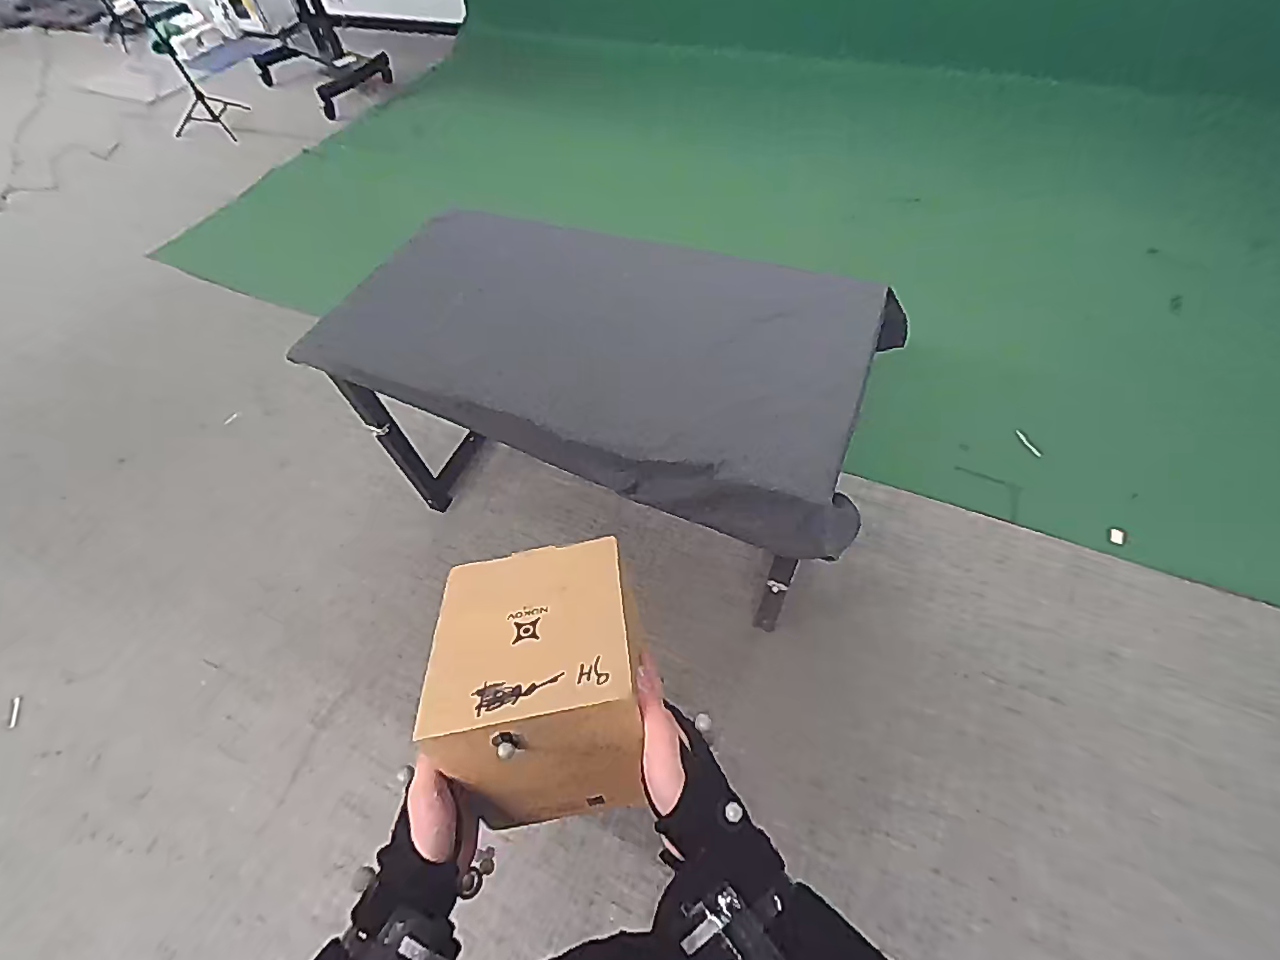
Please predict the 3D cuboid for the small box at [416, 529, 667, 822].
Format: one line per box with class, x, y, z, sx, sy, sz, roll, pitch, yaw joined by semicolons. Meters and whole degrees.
small box;-0.078;0.177;0.501;0.168;0.176;0.179;-13;37;1
